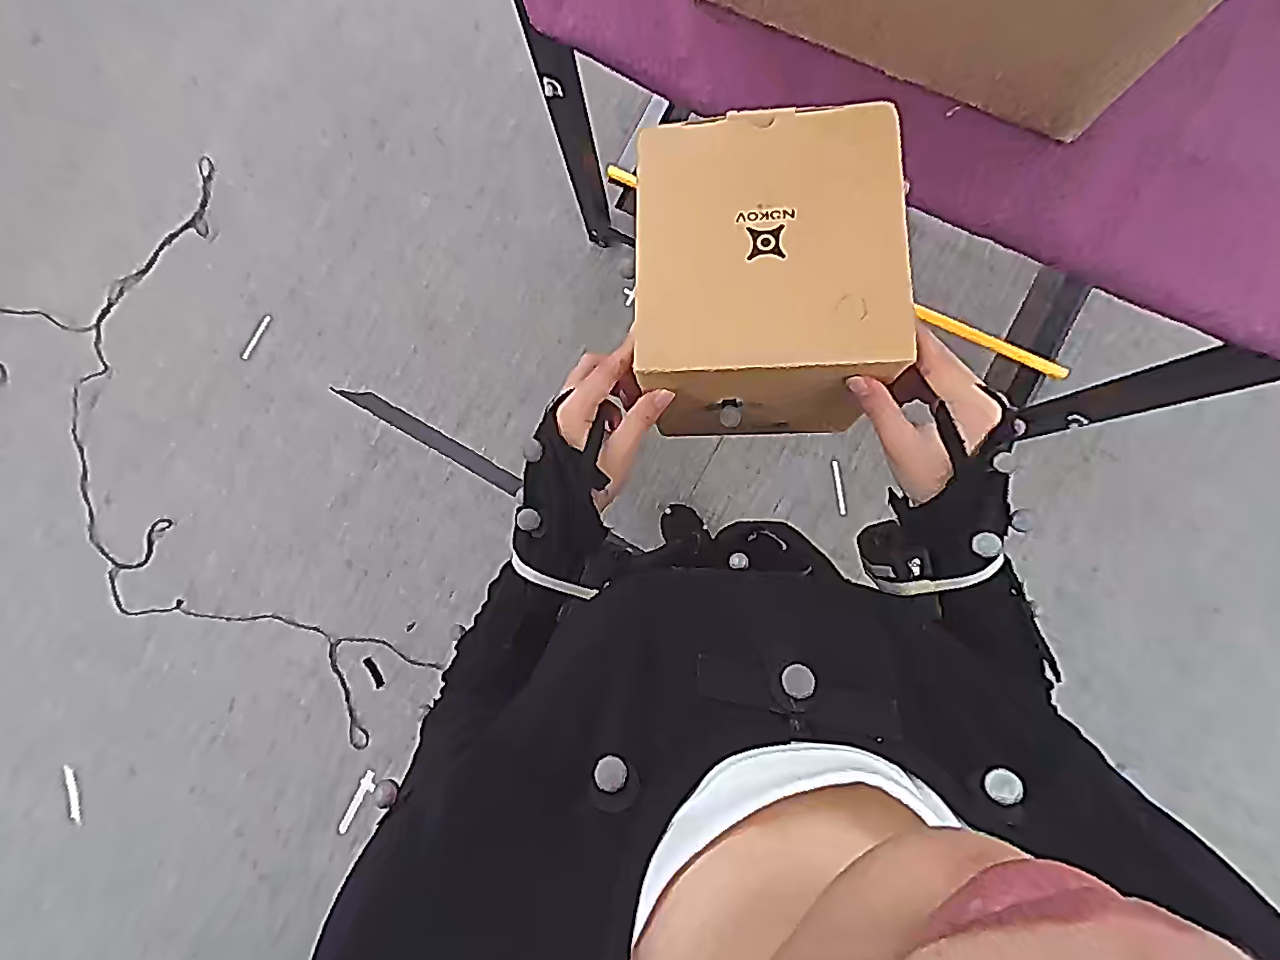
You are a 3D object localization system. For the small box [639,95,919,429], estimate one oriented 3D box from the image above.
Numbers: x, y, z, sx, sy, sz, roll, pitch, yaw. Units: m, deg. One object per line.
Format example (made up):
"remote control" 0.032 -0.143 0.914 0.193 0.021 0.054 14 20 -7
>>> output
"small box" 0.093 -0.139 0.411 0.168 0.176 0.179 -1 80 8
